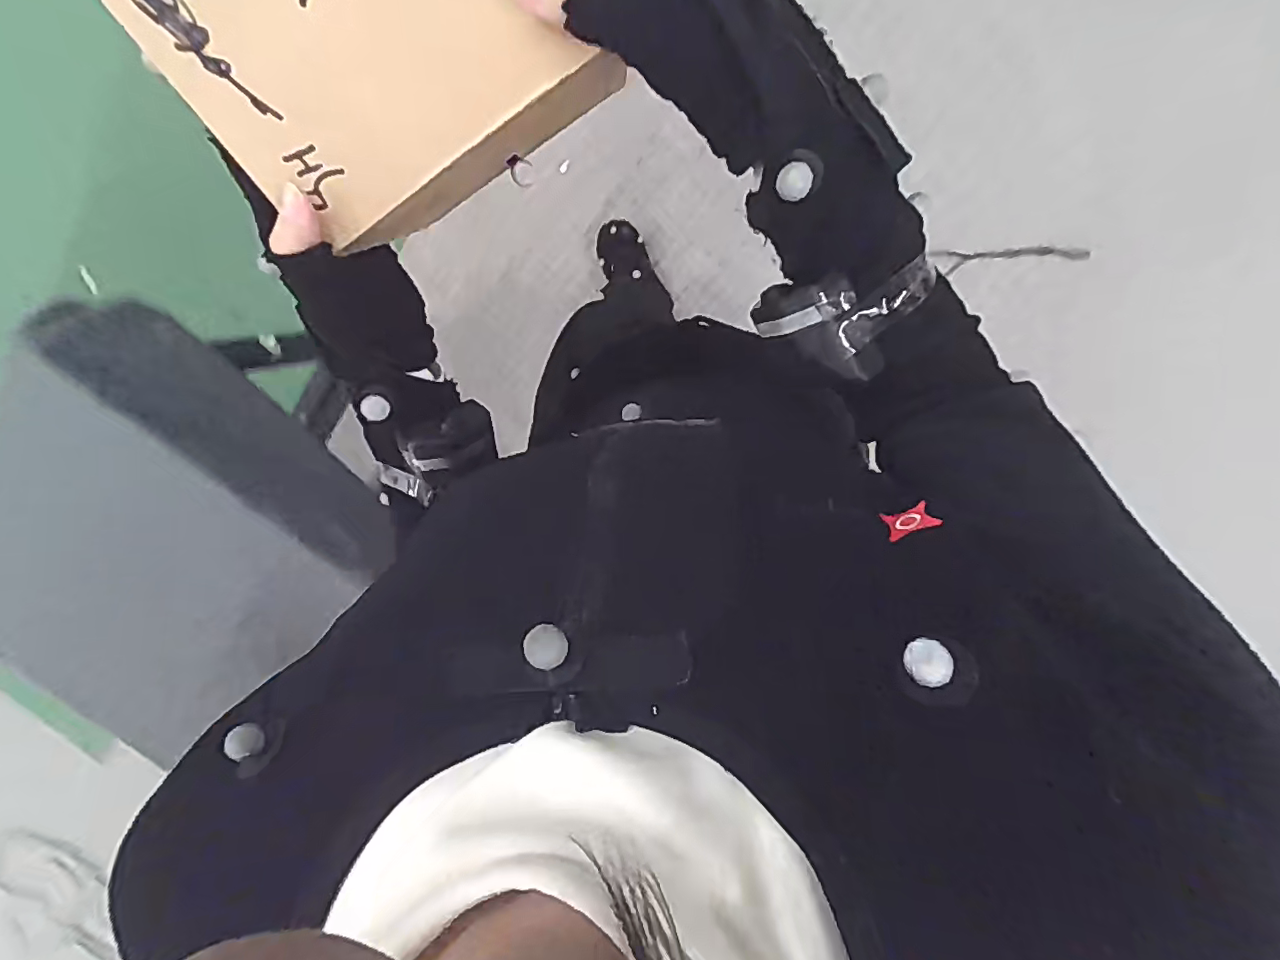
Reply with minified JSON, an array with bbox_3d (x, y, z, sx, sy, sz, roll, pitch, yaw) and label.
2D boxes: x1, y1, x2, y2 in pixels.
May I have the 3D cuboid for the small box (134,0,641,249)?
[{"bbox_3d":[-0.116,-0.253,0.278,0.179,0.176,0.168,-28,117,16],"label":"small box"}]
